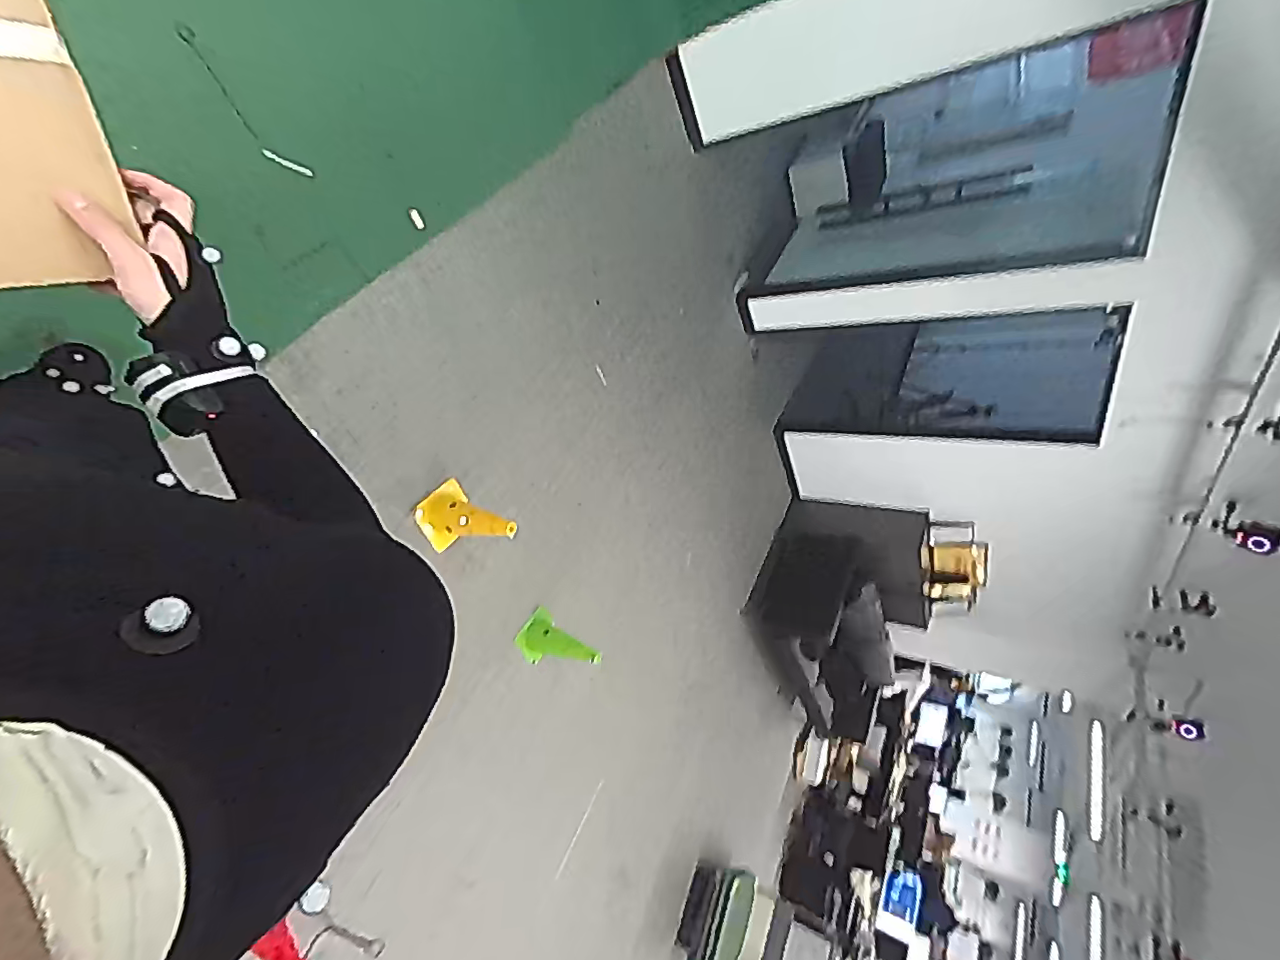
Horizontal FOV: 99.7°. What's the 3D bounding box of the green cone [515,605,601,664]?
[{"bbox_3d":[-0.311,0.692,2.278,0.200,0.368,0.202,-54,134,-36],"label":"green cone"}]
